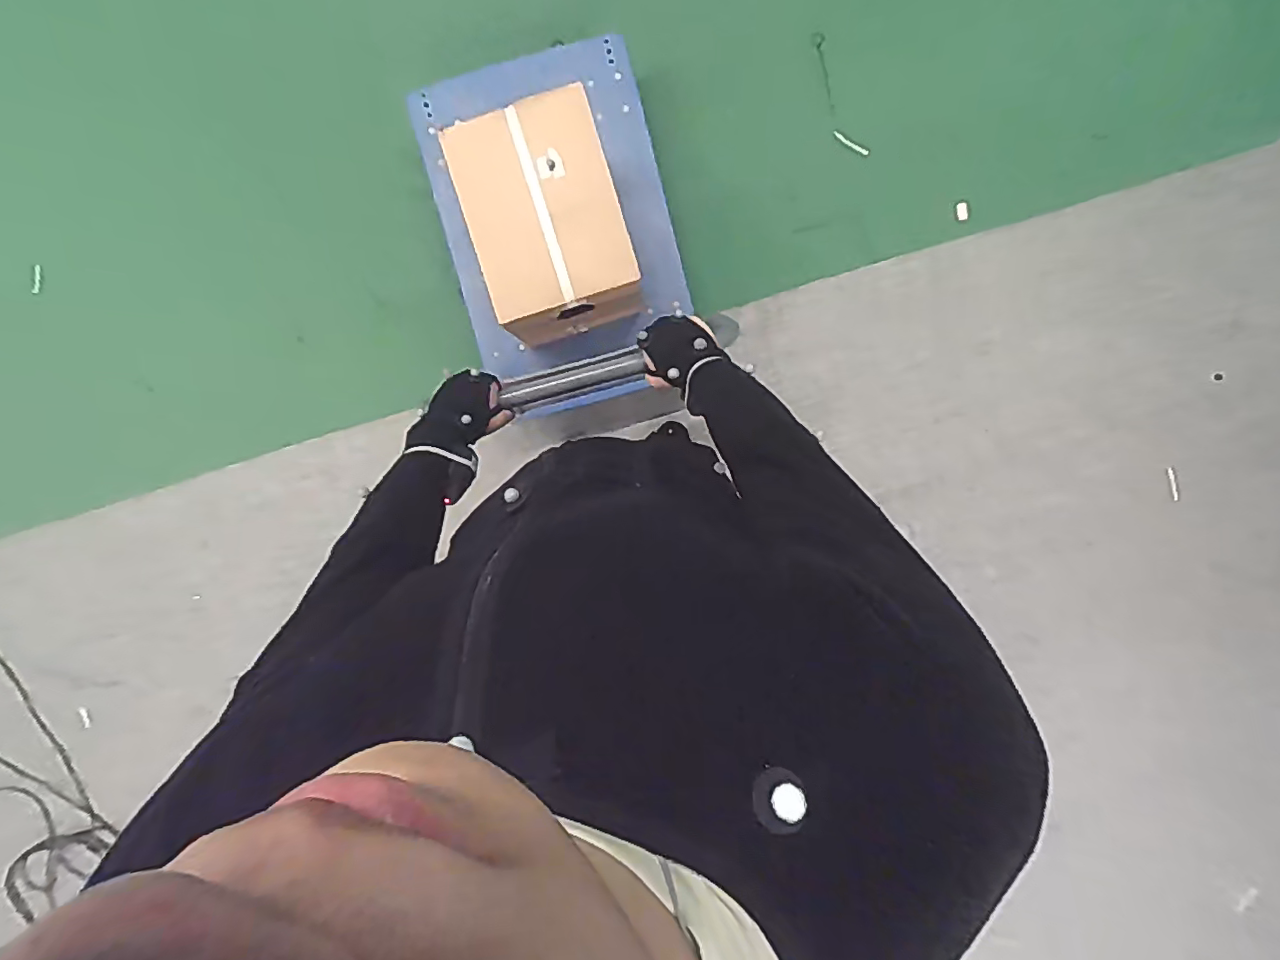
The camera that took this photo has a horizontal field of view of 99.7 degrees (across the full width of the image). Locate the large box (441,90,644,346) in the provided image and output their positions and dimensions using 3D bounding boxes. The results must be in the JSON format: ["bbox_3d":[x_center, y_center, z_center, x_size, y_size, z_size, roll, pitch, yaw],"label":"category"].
[{"bbox_3d":[-0.198,-0.570,1.261,0.320,0.320,0.408,-17,95,2],"label":"large box"}]
